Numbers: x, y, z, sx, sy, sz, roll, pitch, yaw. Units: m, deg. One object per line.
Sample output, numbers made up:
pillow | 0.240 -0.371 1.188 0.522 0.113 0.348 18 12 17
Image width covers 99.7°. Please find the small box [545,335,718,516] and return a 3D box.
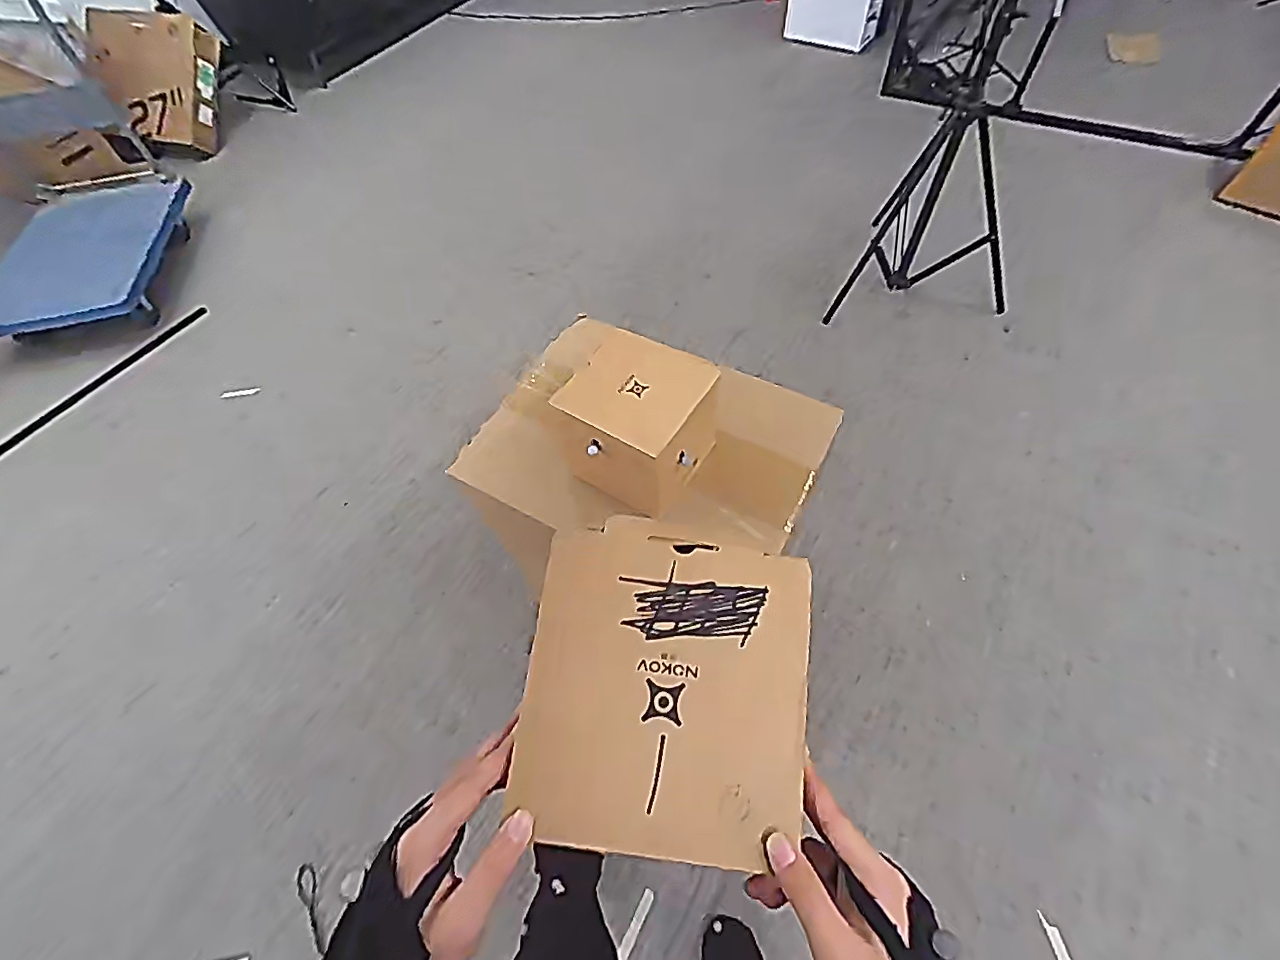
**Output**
small box | -0.005 -0.071 0.783 0.179 0.176 0.168 28 64 20

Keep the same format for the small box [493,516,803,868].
small box | 0.007 0.142 0.396 0.168 0.176 0.179 9 72 0
